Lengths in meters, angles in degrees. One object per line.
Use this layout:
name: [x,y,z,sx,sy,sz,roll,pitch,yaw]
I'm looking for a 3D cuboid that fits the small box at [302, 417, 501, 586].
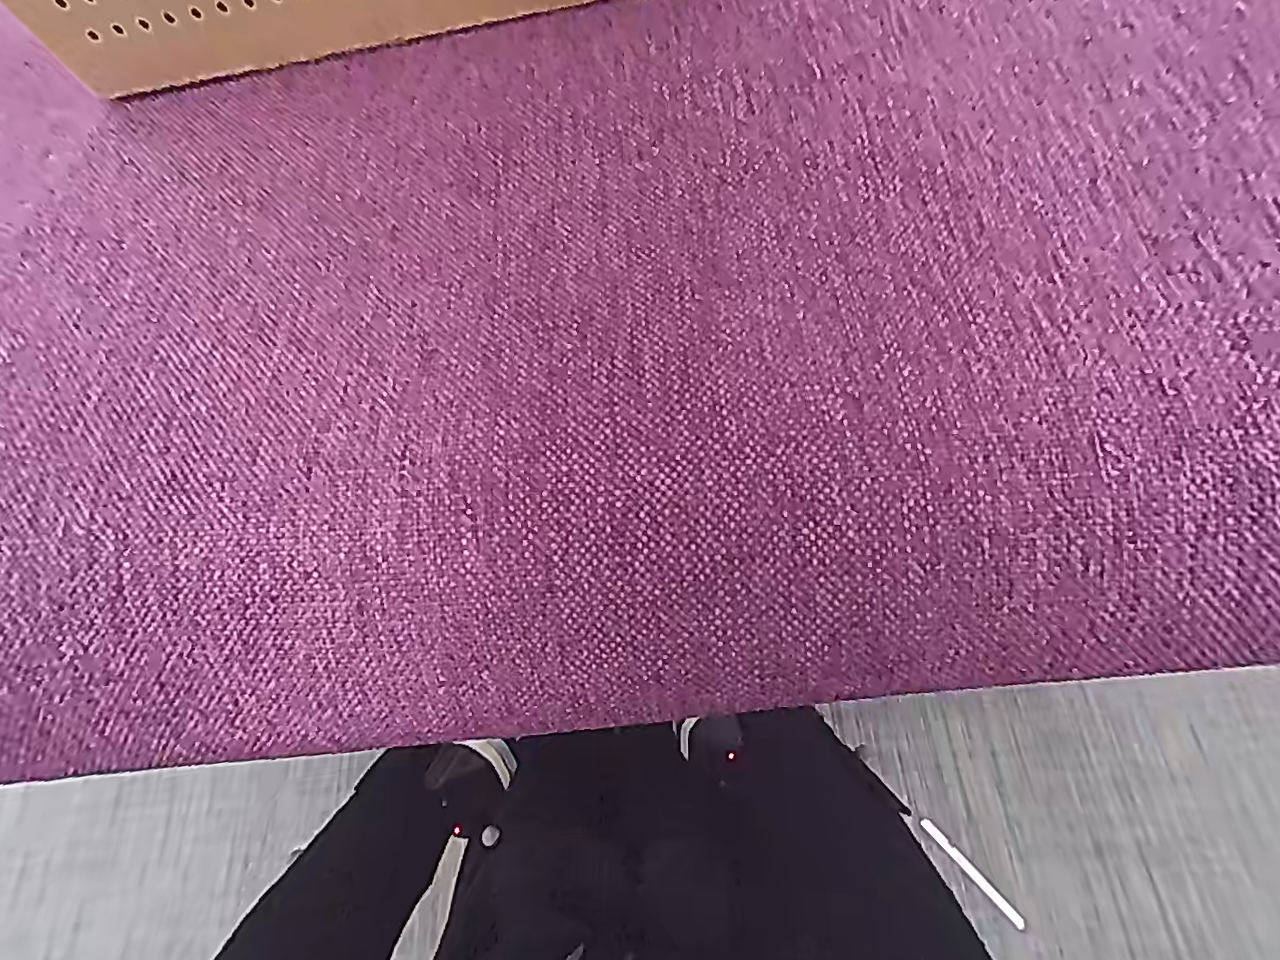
small box: [-0.284,0.036,0.687,0.179,0.176,0.168,-8,71,5]
